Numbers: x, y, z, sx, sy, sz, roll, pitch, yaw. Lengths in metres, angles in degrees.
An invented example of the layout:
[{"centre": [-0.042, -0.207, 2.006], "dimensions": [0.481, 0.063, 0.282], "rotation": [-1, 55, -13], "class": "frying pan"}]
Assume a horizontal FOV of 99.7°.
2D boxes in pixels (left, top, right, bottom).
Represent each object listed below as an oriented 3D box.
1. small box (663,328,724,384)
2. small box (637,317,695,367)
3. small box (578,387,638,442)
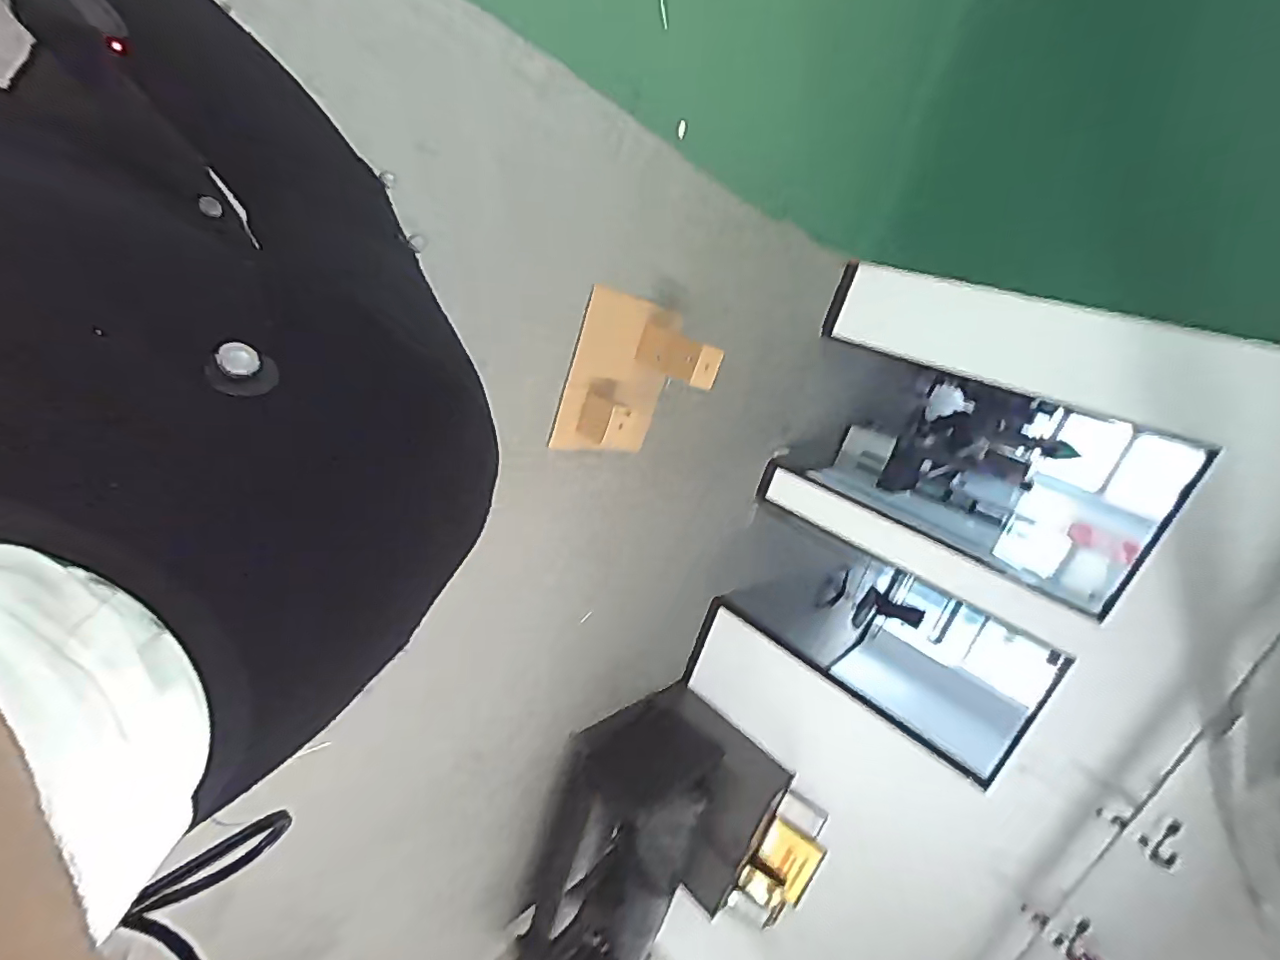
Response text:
[{"centre": [0.222, -0.527, 2.306], "dimensions": [0.168, 0.176, 0.179], "rotation": [-1, 115, -50], "class": "small box"}, {"centre": [0.110, -0.603, 2.396], "dimensions": [0.168, 0.176, 0.179], "rotation": [-1, 116, -51], "class": "small box"}, {"centre": [-0.143, -0.282, 2.332], "dimensions": [0.168, 0.176, 0.179], "rotation": [1, 115, -52], "class": "small box"}]
